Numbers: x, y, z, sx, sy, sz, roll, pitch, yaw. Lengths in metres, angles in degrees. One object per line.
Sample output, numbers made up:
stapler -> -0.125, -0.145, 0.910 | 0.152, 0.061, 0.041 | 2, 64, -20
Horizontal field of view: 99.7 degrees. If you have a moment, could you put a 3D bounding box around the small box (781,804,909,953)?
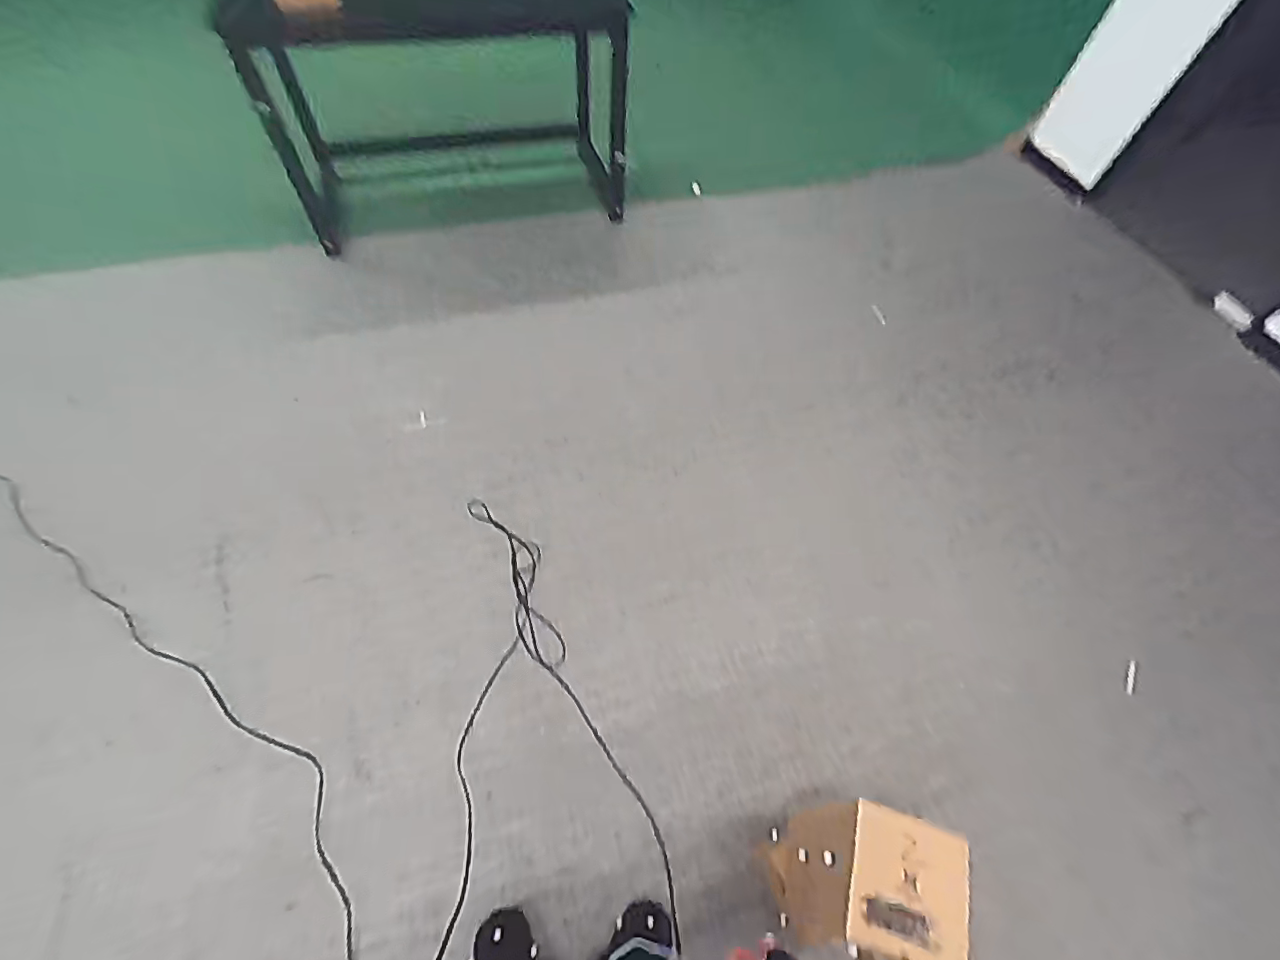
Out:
small box -> 0.362, 0.705, 0.977 | 0.168, 0.176, 0.179 | 13, 59, 3

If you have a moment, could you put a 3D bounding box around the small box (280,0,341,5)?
small box -> -0.970, -1.477, 1.522 | 0.168, 0.176, 0.179 | -20, 63, -17

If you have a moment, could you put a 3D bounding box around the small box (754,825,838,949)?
small box -> 0.349, 0.796, 1.094 | 0.179, 0.176, 0.168 | -17, 62, -15
